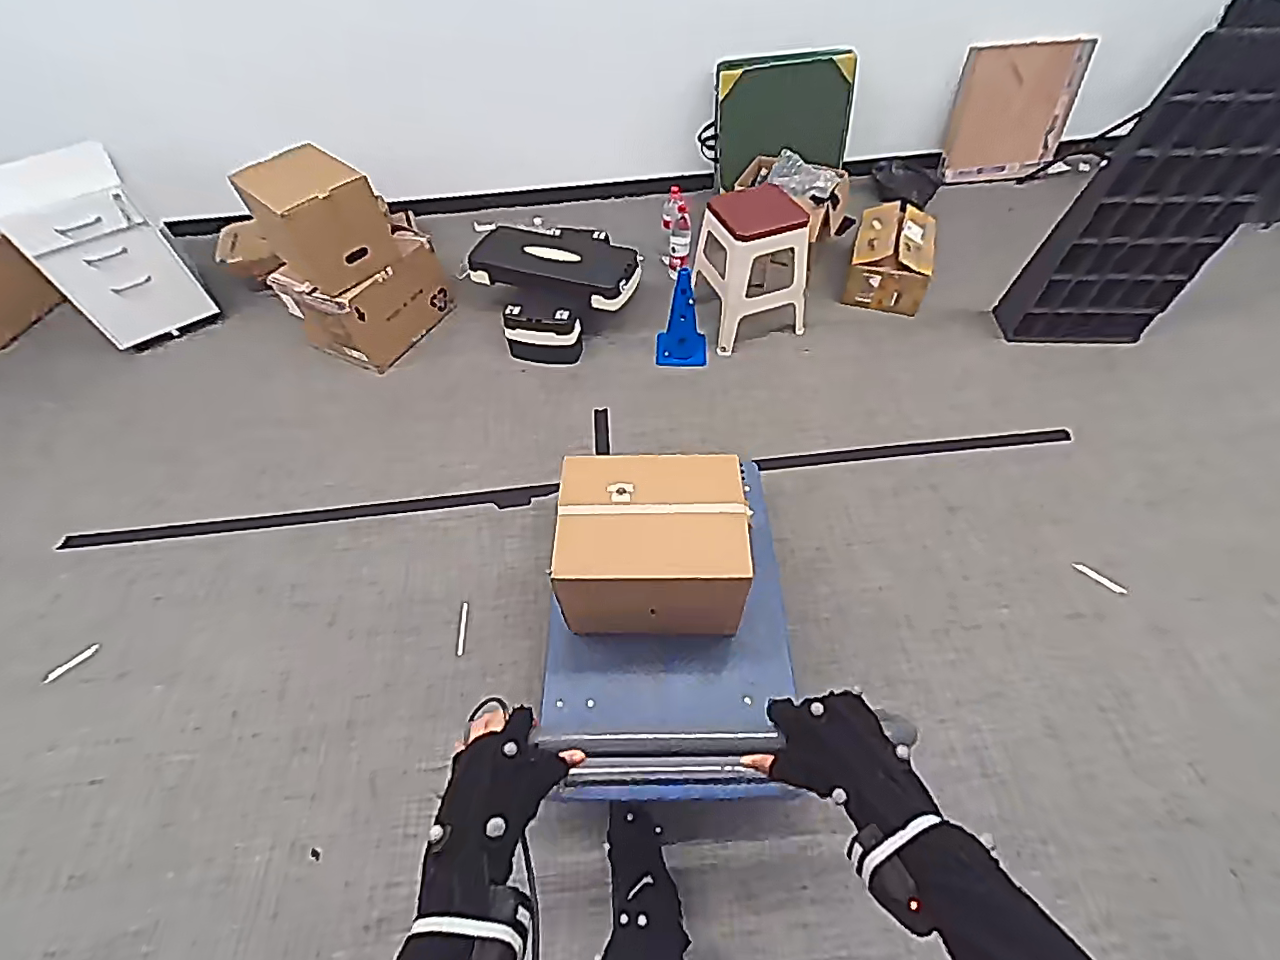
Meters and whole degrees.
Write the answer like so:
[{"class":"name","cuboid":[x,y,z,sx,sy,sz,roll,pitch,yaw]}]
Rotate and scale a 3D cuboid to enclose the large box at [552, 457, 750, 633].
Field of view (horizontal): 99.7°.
[{"class":"large box","cuboid":[0.028,0.164,1.279,0.408,0.320,0.320,-1,54,2]}]
